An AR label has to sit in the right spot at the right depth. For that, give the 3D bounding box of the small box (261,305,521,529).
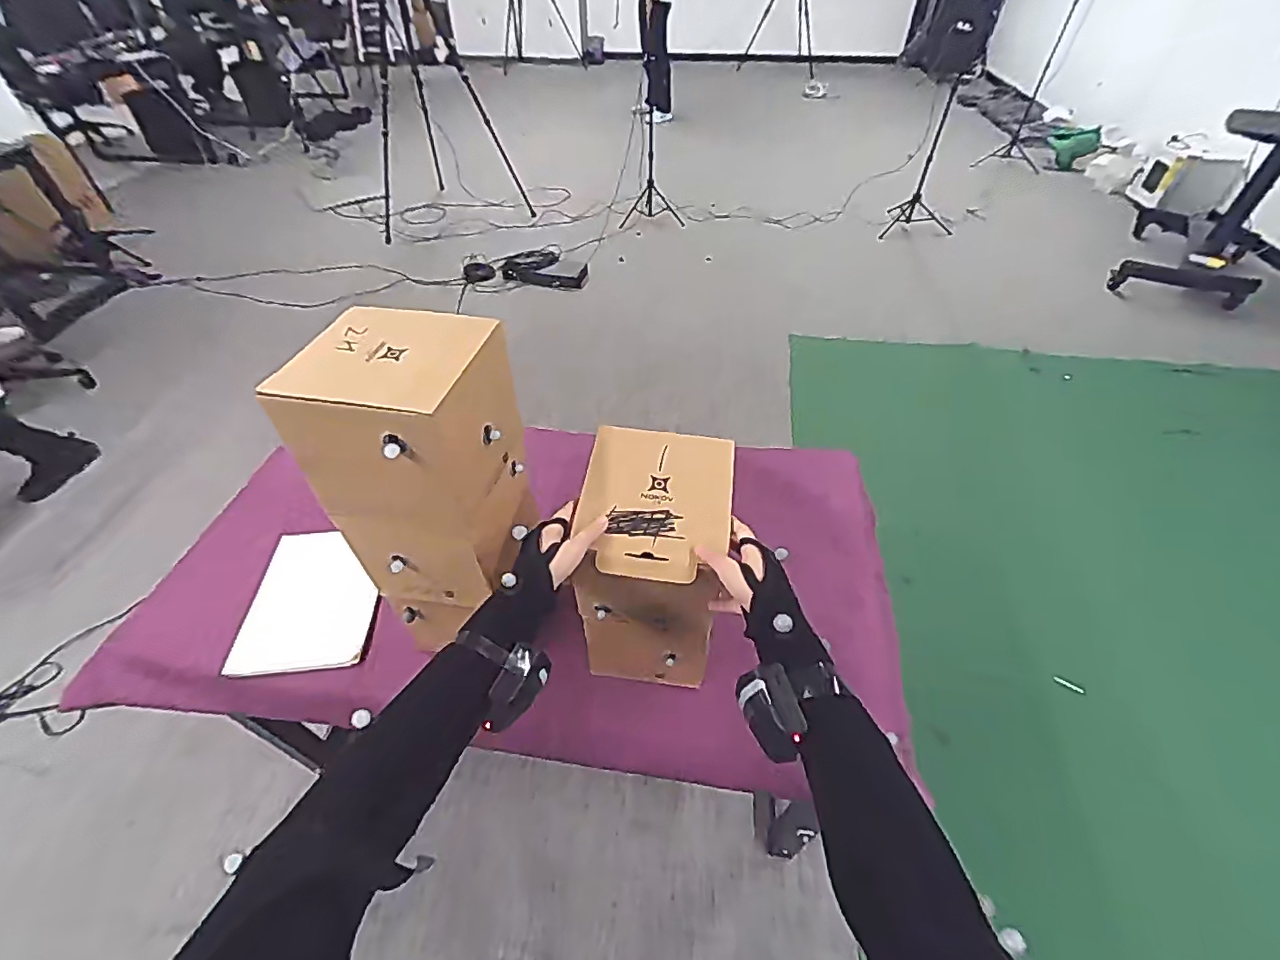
[{"bbox_3d":[-0.243,-0.066,0.587,0.179,0.176,0.168,8,45,8],"label":"small box"}]

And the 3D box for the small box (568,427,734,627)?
[{"bbox_3d":[0.018,0.062,0.661,0.168,0.176,0.179,7,52,5],"label":"small box"}]

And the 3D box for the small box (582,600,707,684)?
[{"bbox_3d":[0.018,0.181,0.806,0.168,0.176,0.179,7,45,5],"label":"small box"}]

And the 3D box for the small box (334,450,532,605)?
[{"bbox_3d":[-0.250,0.043,0.709,0.168,0.176,0.179,6,45,6],"label":"small box"}]
